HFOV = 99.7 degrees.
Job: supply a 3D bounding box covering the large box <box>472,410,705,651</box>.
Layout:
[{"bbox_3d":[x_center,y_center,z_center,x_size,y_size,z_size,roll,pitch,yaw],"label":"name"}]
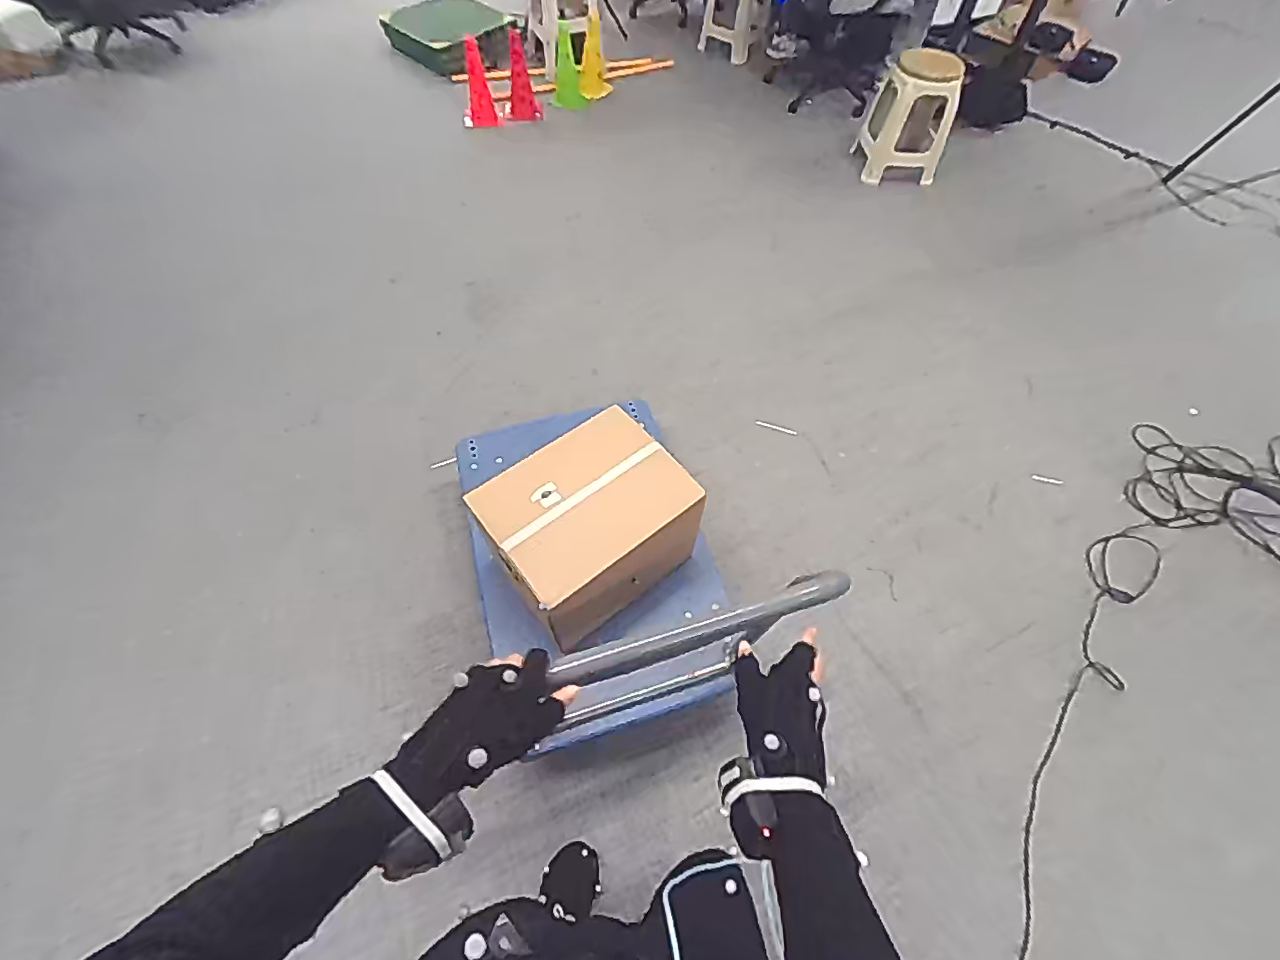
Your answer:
[{"bbox_3d":[-0.106,0.120,1.258,0.408,0.320,0.320,-37,65,-20],"label":"large box"}]
